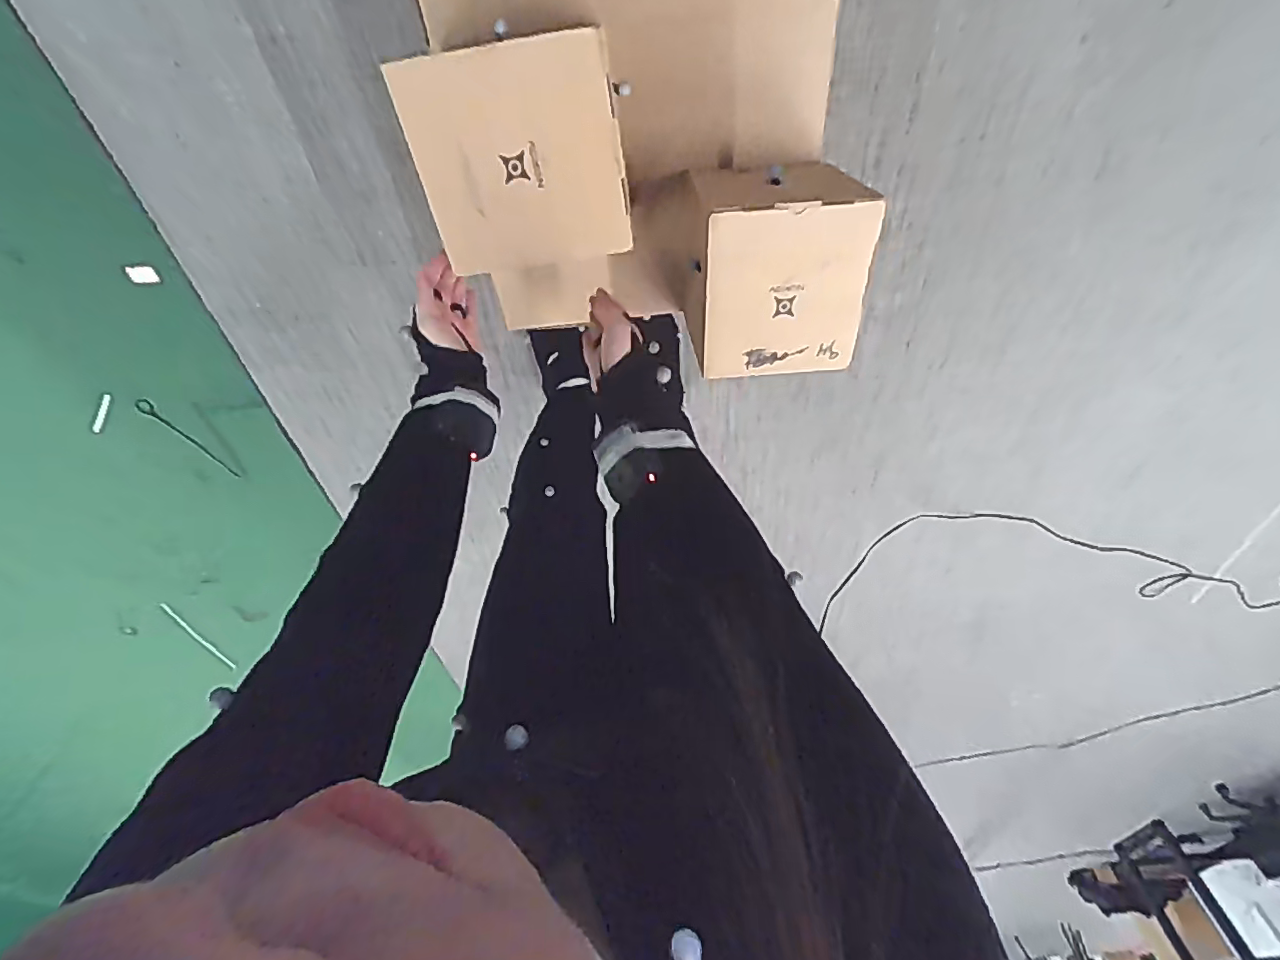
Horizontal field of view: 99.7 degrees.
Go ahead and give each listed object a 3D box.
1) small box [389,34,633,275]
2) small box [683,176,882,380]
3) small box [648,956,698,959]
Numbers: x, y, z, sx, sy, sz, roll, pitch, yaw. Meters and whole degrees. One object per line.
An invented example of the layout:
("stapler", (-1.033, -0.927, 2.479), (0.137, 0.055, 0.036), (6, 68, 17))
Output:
("small box", (-0.104, -0.318, 0.526), (0.179, 0.176, 0.168), (-6, 129, 3))
("small box", (0.140, -0.232, 0.608), (0.168, 0.176, 0.179), (-4, 129, -1))
("small box", (0.097, 1.520, 1.584), (0.179, 0.176, 0.168), (-7, 131, 3))
